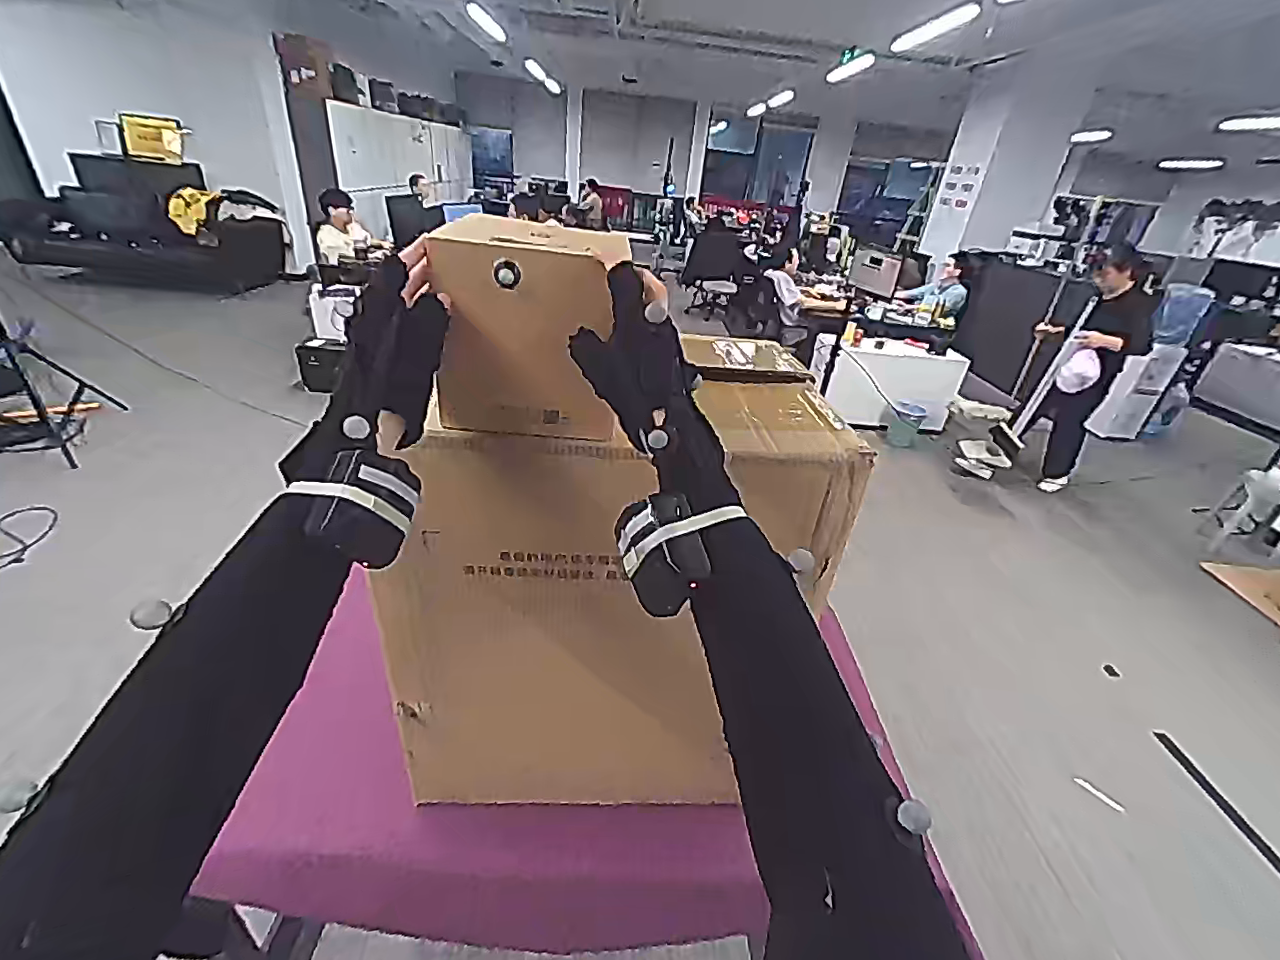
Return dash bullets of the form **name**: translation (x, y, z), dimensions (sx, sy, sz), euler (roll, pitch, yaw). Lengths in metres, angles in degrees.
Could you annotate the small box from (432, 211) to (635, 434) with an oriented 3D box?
- **small box**: translation (-0.097, -0.161, 0.541), dimensions (0.168, 0.176, 0.179), euler (4, 29, -6)
